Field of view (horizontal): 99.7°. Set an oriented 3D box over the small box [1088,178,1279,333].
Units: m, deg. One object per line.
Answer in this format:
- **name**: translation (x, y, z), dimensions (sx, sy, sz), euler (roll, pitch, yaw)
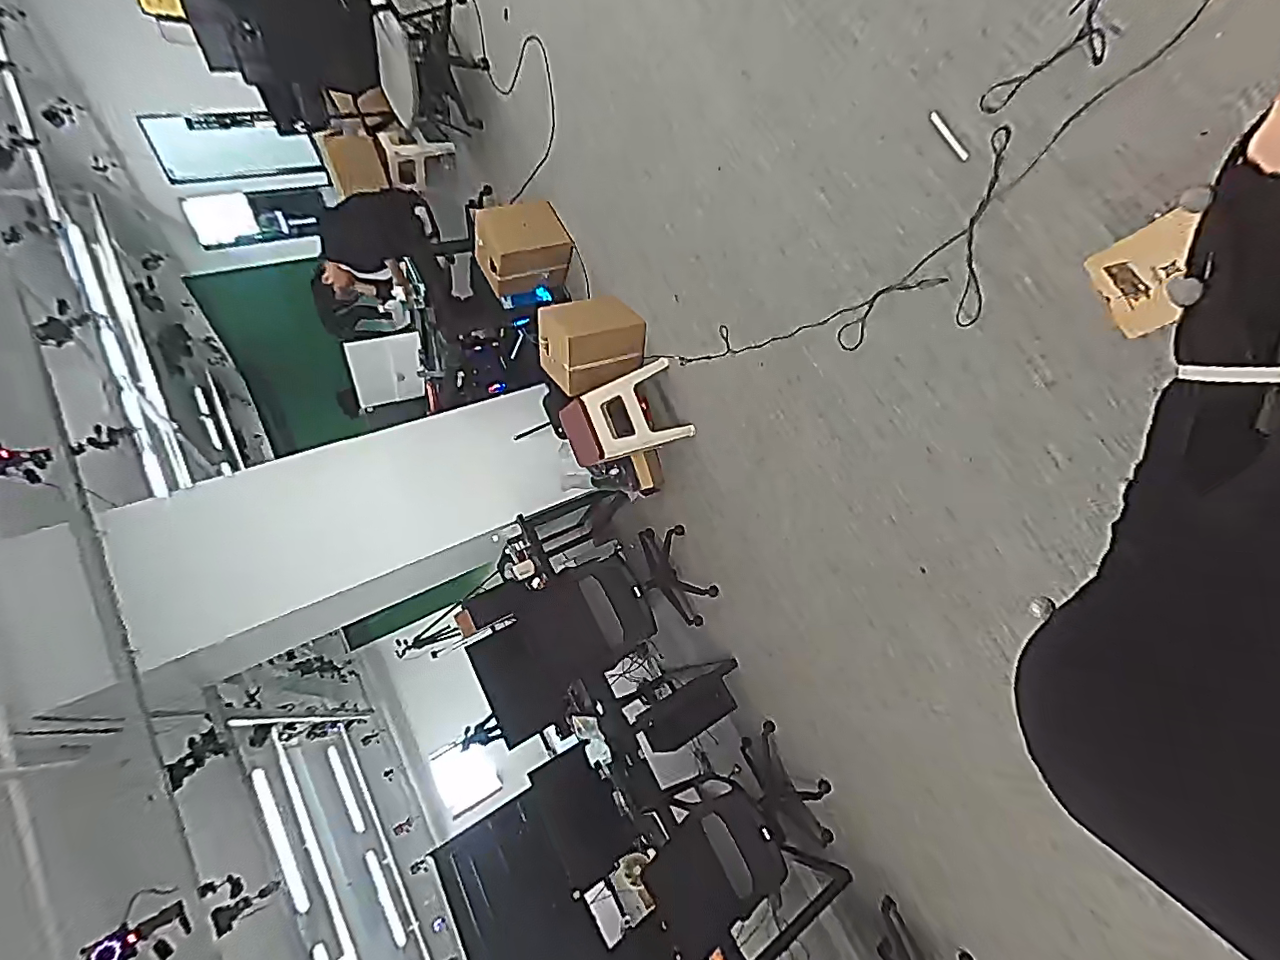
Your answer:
- **small box**: translation (0.928, -0.377, 0.916), dimensions (0.168, 0.176, 0.179), euler (64, 152, 5)
